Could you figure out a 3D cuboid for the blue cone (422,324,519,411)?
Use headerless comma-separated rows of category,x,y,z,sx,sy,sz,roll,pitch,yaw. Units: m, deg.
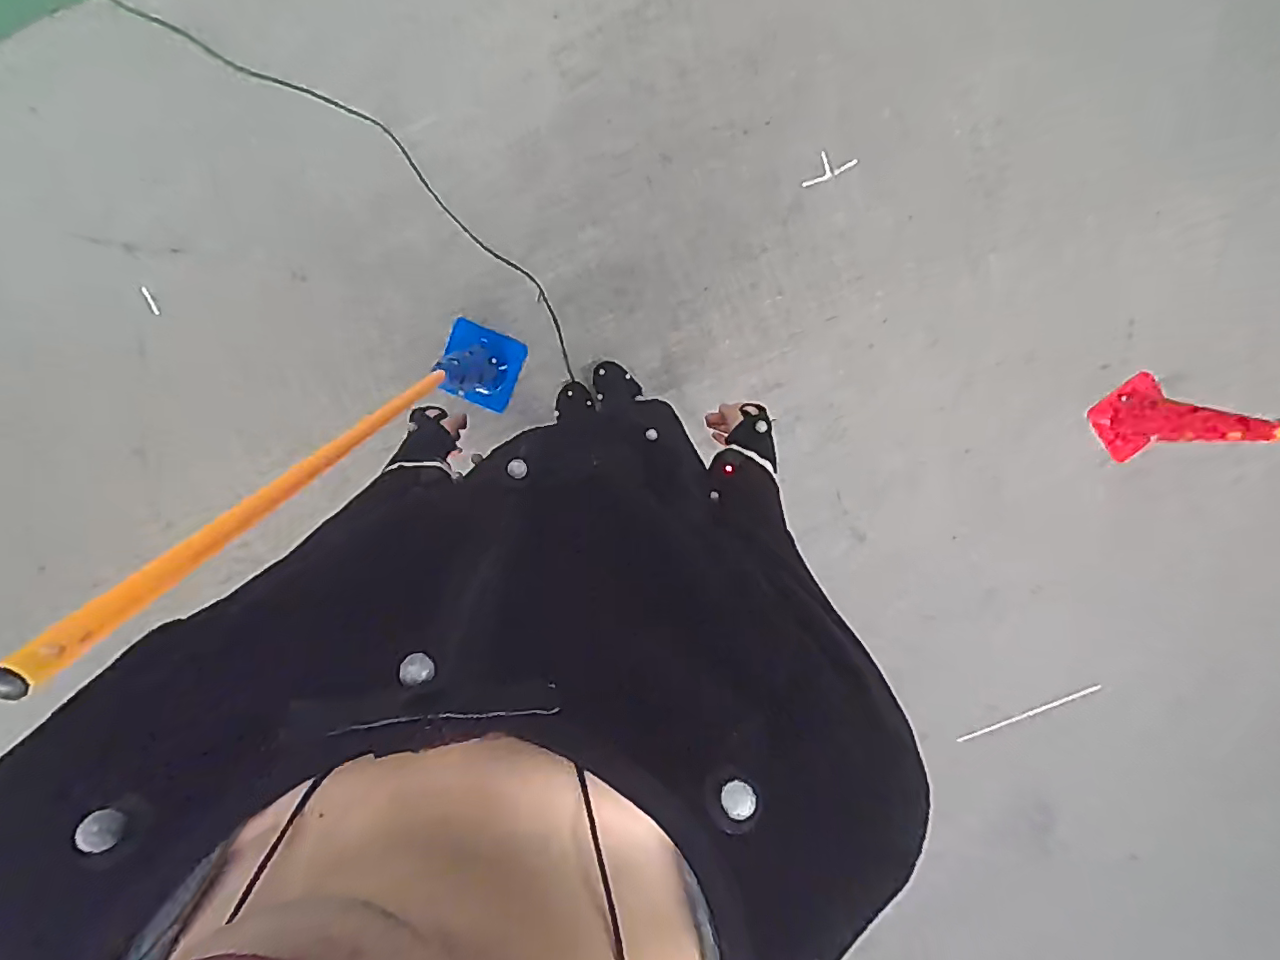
blue cone,-0.414,-0.245,1.250,0.192,0.380,0.193,21,104,-8
